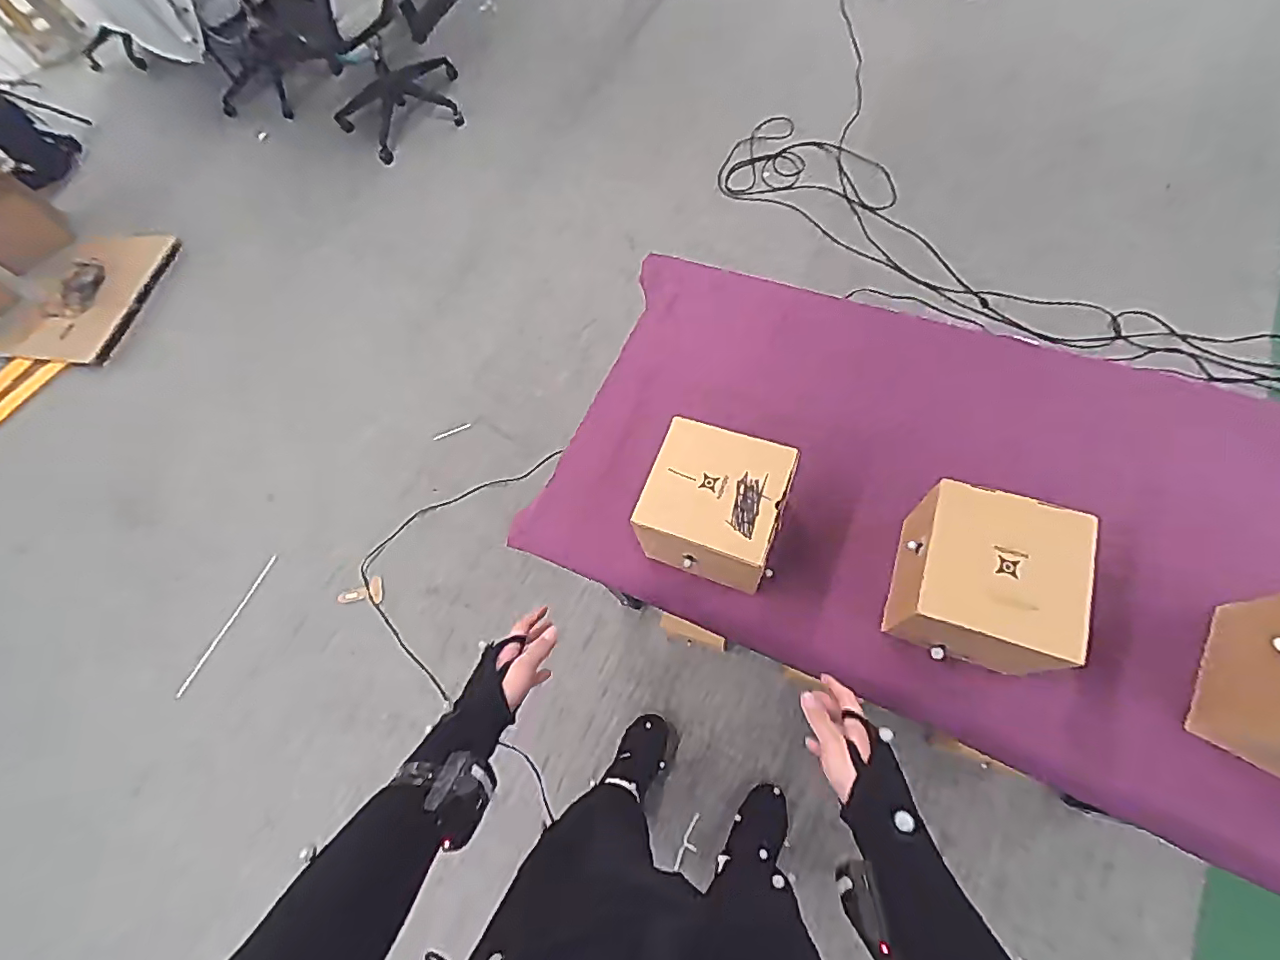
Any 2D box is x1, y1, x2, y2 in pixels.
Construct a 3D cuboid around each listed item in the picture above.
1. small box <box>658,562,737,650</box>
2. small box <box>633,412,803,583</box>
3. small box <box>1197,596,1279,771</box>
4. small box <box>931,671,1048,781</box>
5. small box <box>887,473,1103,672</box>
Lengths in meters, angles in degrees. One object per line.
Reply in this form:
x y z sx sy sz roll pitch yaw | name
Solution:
0.157 0.336 1.421 0.168 0.176 0.179 13 70 14 | small box
0.110 0.033 0.759 0.179 0.176 0.168 17 70 15 | small box
0.758 0.236 0.571 0.168 0.176 0.179 28 73 20 | small box
0.785 0.553 1.228 0.168 0.176 0.179 15 70 14 | small box
0.426 0.121 0.673 0.168 0.176 0.179 17 70 16 | small box
